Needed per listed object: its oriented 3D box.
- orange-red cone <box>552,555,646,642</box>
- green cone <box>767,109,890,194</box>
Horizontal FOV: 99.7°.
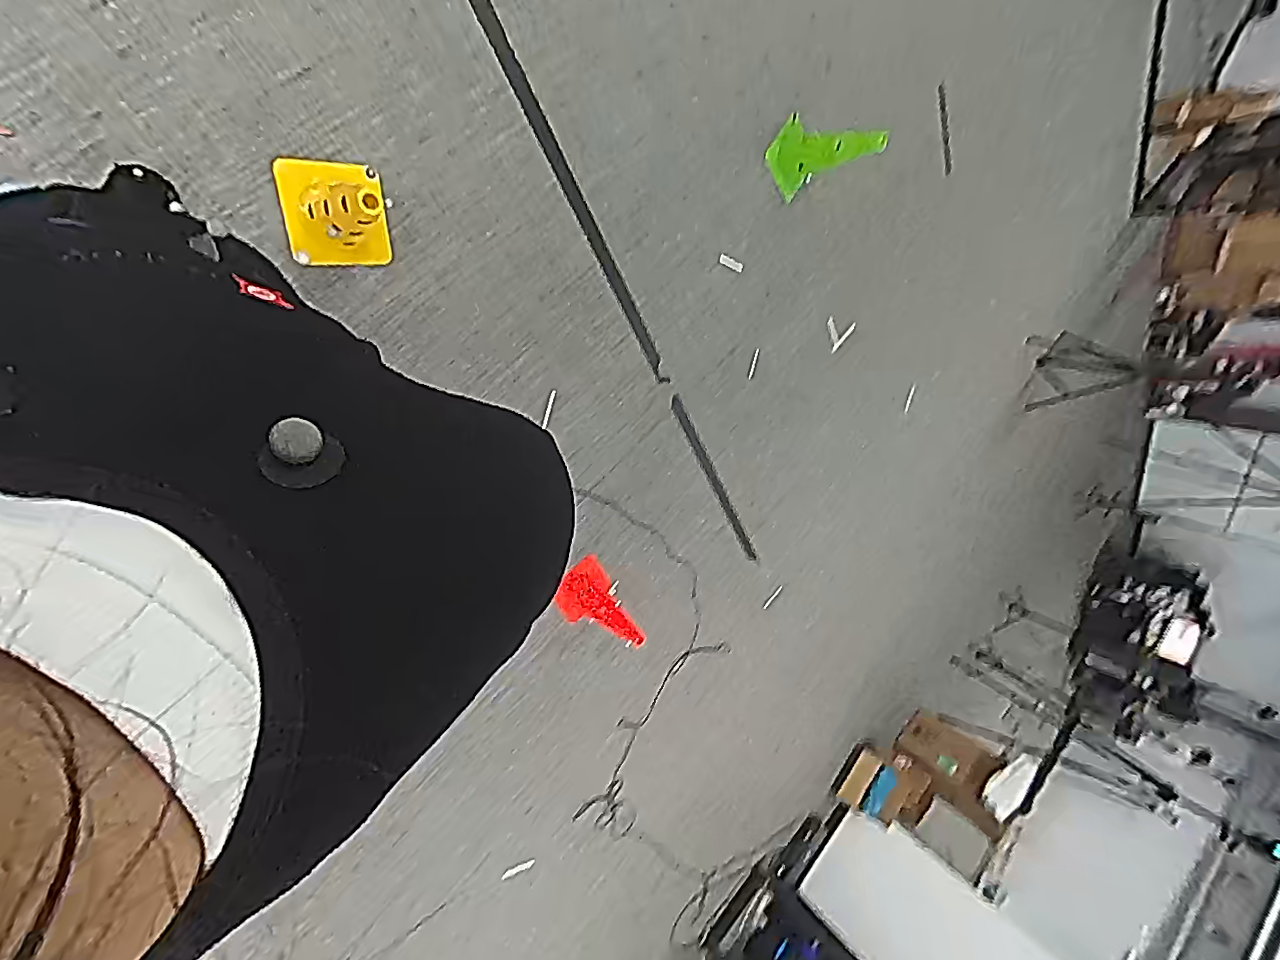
[{"bbox_3d":[-0.102,0.431,1.781,0.198,0.360,0.199,-40,126,-21],"label":"orange-red cone"},{"bbox_3d":[0.632,-1.090,1.763,0.202,0.368,0.200,37,83,-43],"label":"green cone"}]
